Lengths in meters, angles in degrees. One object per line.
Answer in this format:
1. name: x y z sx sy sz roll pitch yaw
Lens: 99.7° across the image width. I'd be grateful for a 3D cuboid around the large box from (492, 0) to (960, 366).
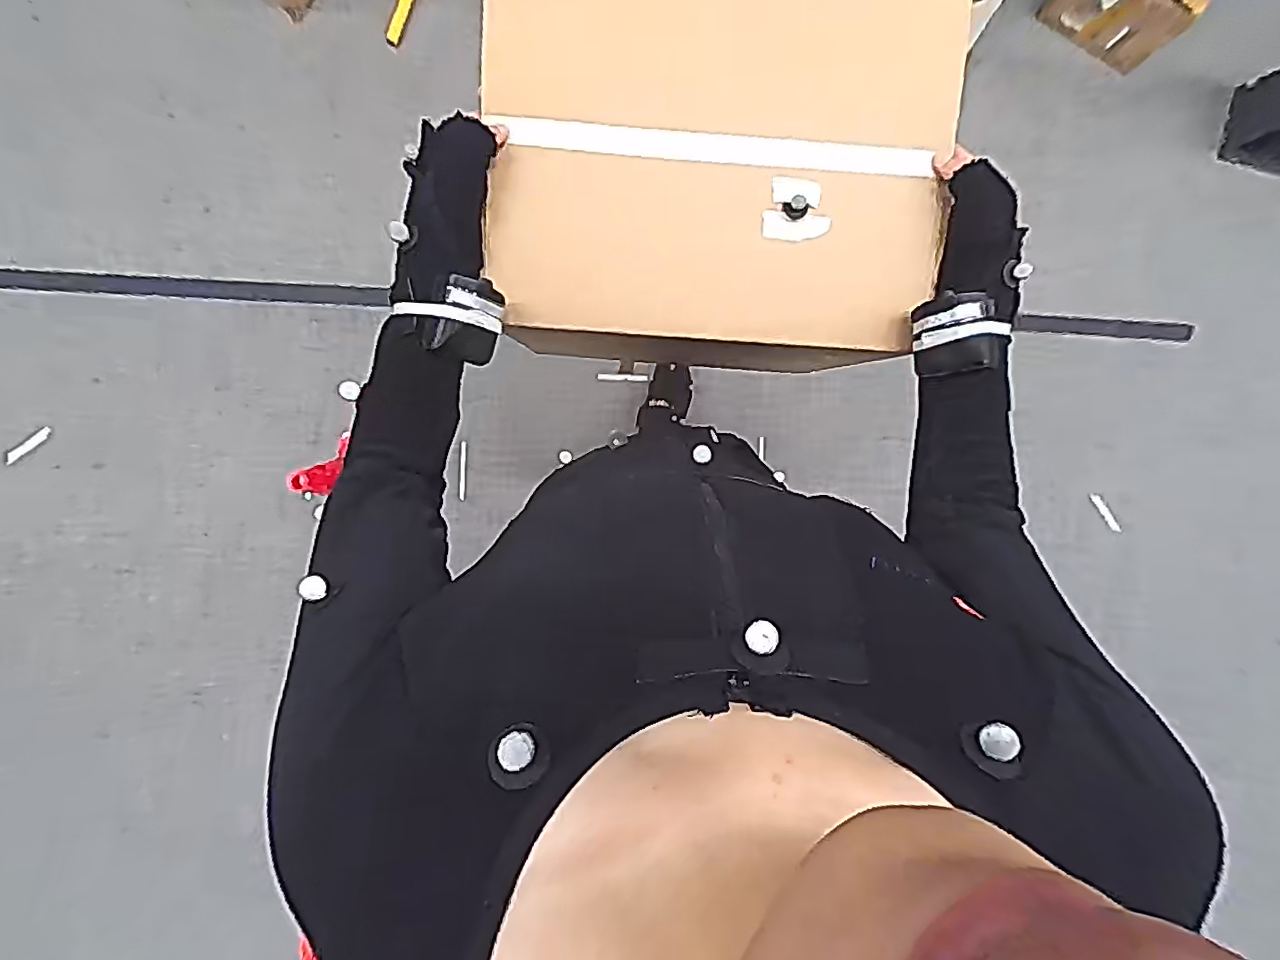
1. large box: 0.063 -0.306 0.617 0.408 0.320 0.320 3 98 -4
